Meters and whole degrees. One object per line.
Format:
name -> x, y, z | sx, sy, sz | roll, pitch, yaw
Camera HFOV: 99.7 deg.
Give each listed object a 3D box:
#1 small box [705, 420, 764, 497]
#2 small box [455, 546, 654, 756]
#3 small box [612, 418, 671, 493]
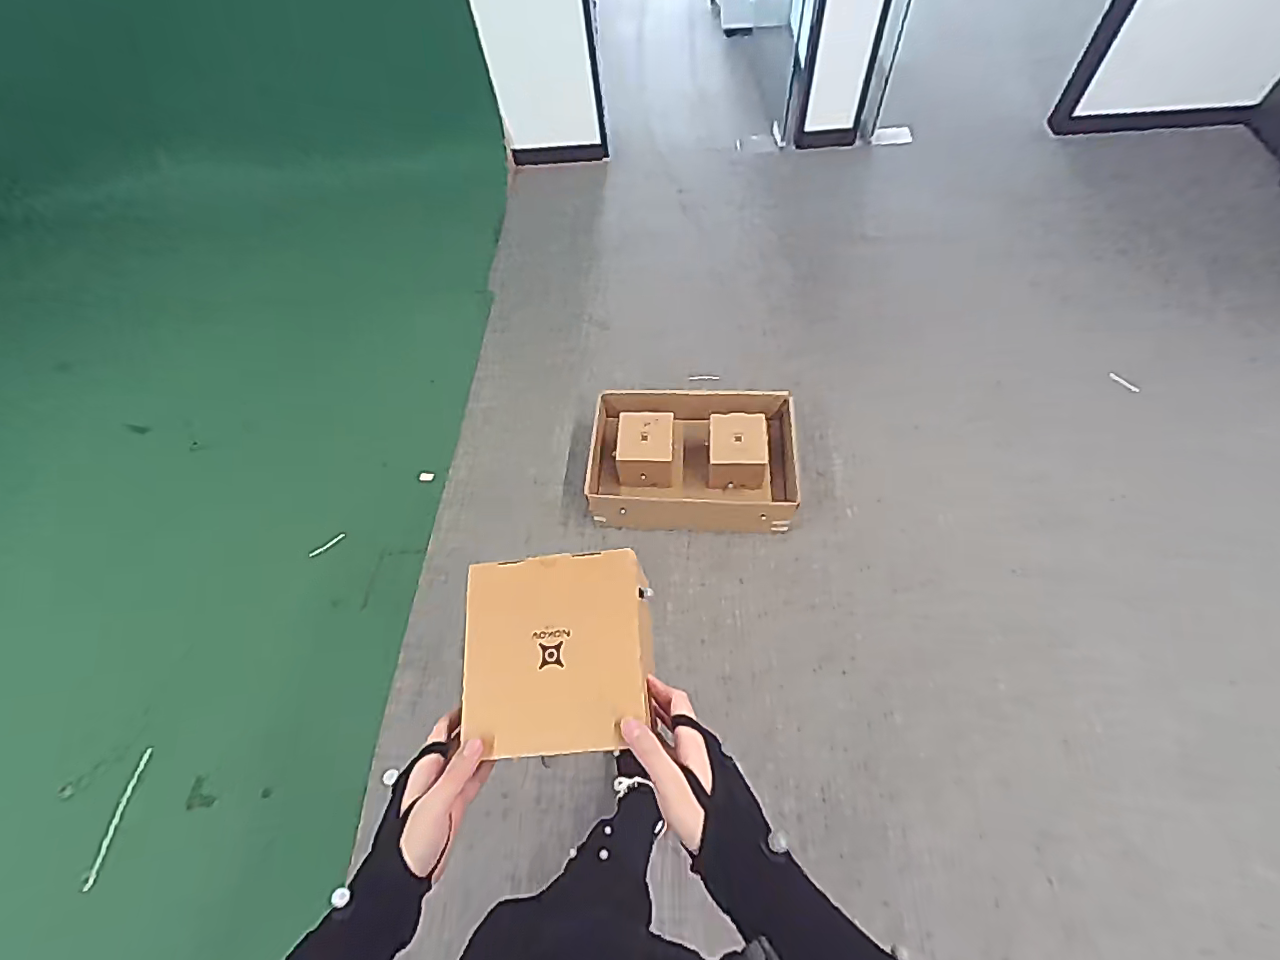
small box -> 0.285, -0.065, 1.657 | 0.168, 0.176, 0.179 | 1, 61, 6
small box -> -0.077, 0.181, 0.566 | 0.168, 0.176, 0.179 | -6, 66, 3
small box -> 0.011, -0.073, 1.681 | 0.168, 0.176, 0.179 | 2, 59, 4
